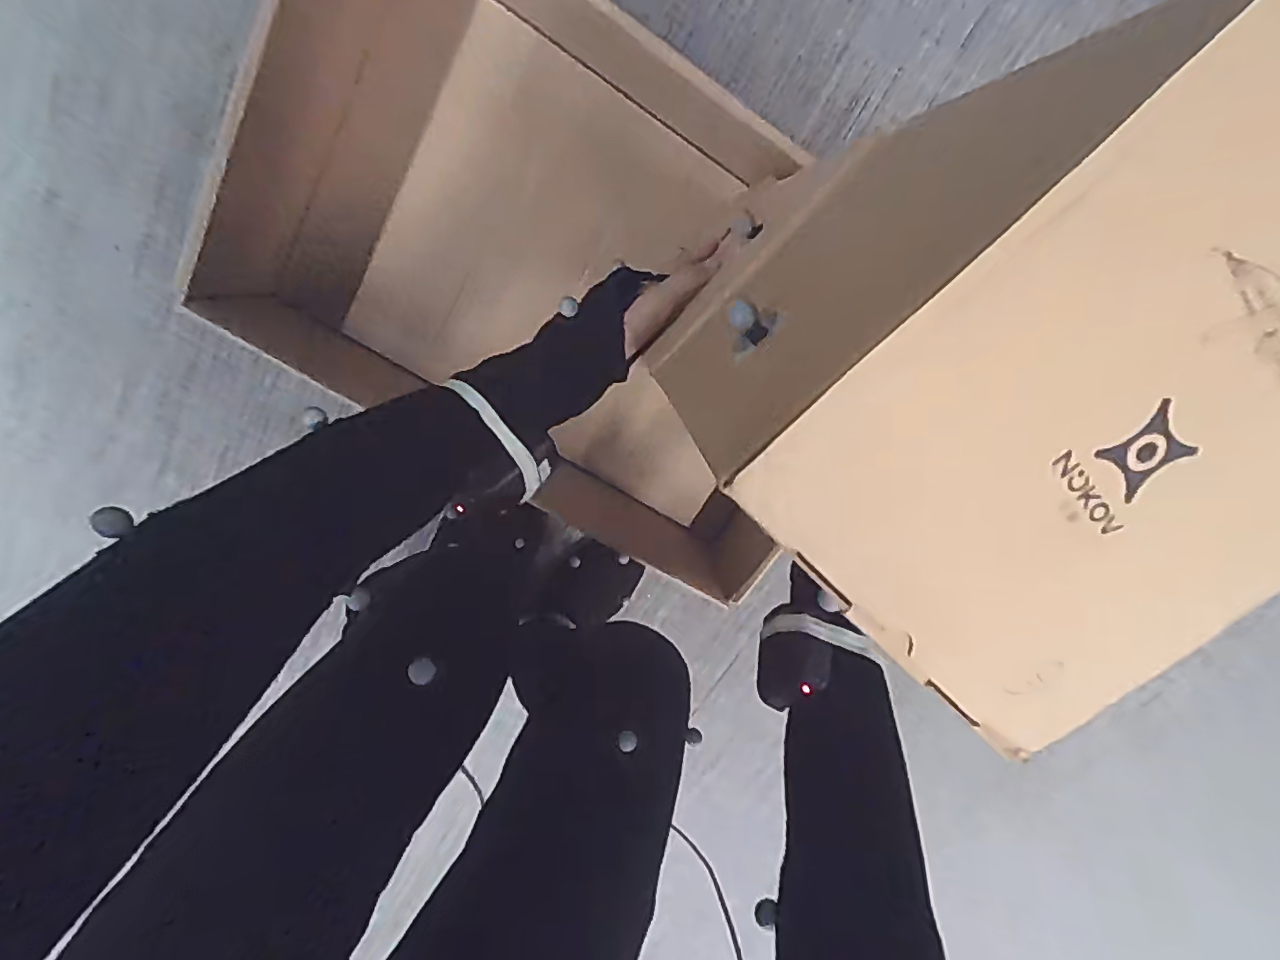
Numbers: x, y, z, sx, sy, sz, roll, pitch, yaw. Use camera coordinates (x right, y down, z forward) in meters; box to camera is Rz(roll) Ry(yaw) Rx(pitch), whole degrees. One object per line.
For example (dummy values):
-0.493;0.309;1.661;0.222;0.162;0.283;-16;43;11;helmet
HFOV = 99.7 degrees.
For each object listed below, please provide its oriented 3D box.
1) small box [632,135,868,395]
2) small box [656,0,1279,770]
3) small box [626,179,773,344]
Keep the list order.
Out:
0.107;-0.088;0.381;0.179;0.176;0.168;41;103;-16;small box
0.121;-0.032;0.228;0.179;0.176;0.168;-43;109;11;small box
0.099;-0.152;0.532;0.179;0.176;0.168;38;104;-16;small box
